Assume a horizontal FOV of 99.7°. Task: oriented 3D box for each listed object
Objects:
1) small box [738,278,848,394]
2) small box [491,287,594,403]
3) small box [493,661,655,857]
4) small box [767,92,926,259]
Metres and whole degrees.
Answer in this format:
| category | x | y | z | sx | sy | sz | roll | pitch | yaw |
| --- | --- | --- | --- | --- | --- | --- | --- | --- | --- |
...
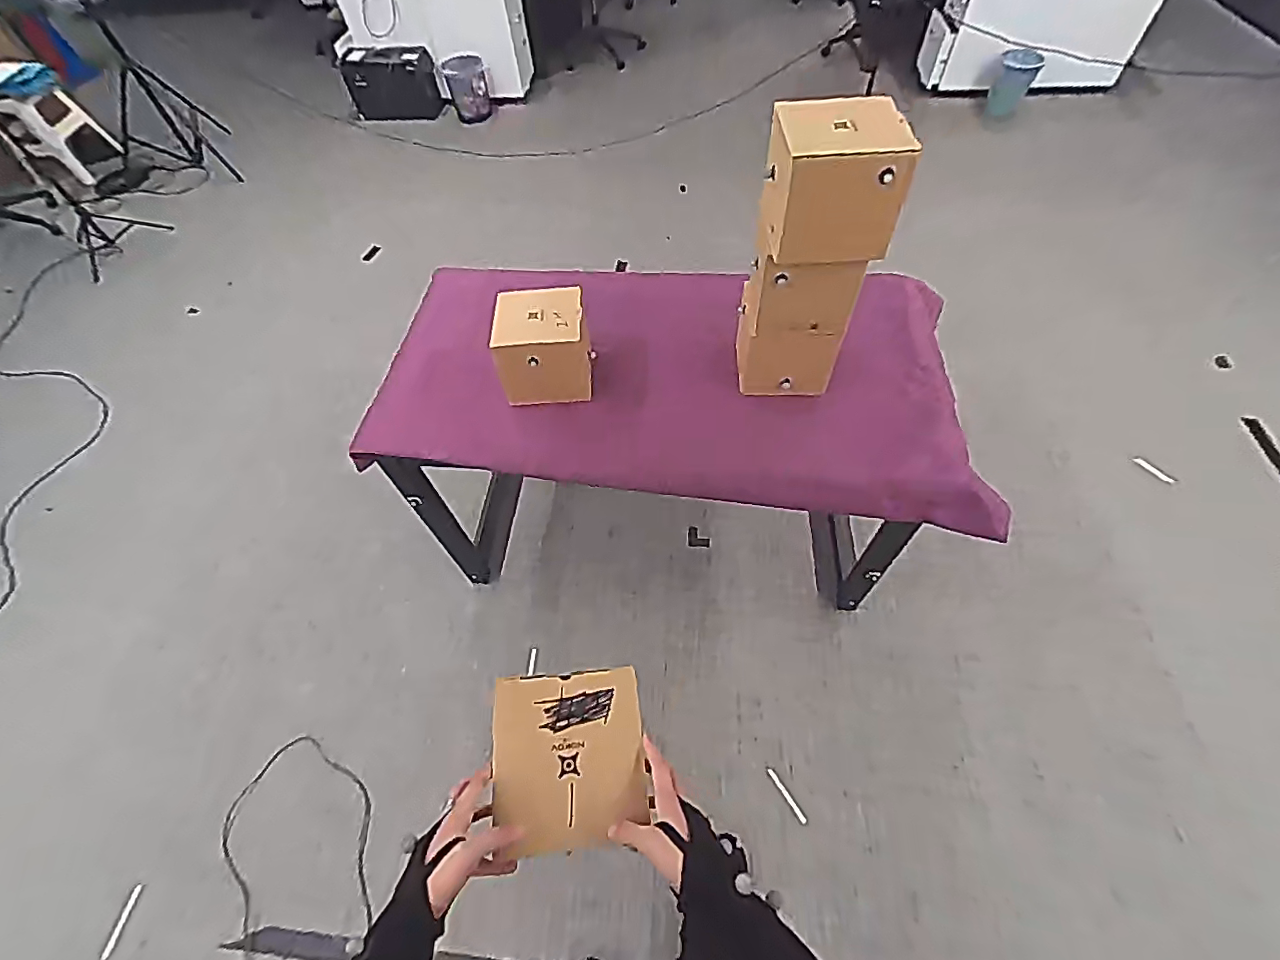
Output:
| category | x | y | z | sx | sy | sz | roll | pitch | yaw |
| --- | --- | --- | --- | --- | --- | --- | --- | --- | --- |
| small box | 0.302 | -0.290 | 1.105 | 0.179 | 0.176 | 0.168 | 1 | 56 | 3 |
| small box | -0.194 | -0.275 | 1.124 | 0.179 | 0.176 | 0.168 | -3 | 56 | 1 |
| small box | -0.084 | 0.329 | 0.652 | 0.168 | 0.176 | 0.179 | -3 | 64 | -9 |
| small box | 0.294 | -0.455 | 0.822 | 0.179 | 0.176 | 0.168 | -2 | 56 | 2 |
